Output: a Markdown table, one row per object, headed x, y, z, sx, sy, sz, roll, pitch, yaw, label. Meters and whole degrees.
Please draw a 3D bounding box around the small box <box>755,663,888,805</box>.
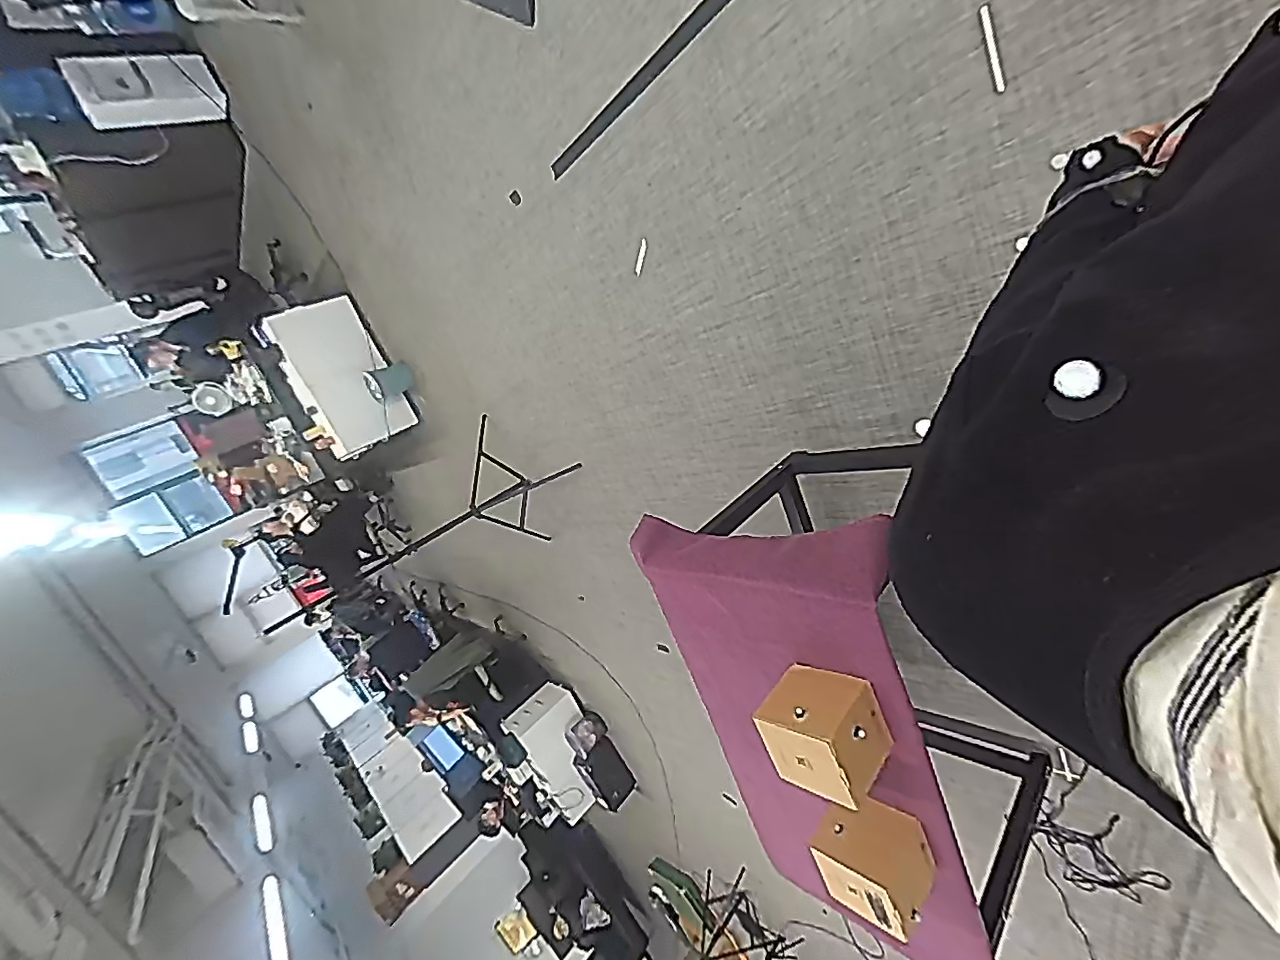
| x | y | z | sx | sy | sz | roll | pitch | yaw | label |
| --- | --- | --- | --- | --- | --- | --- | --- | --- | --- |
| 0.368 | 0.489 | 1.074 | 0.179 | 0.176 | 0.168 | -6 | 113 | 53 | small box |
